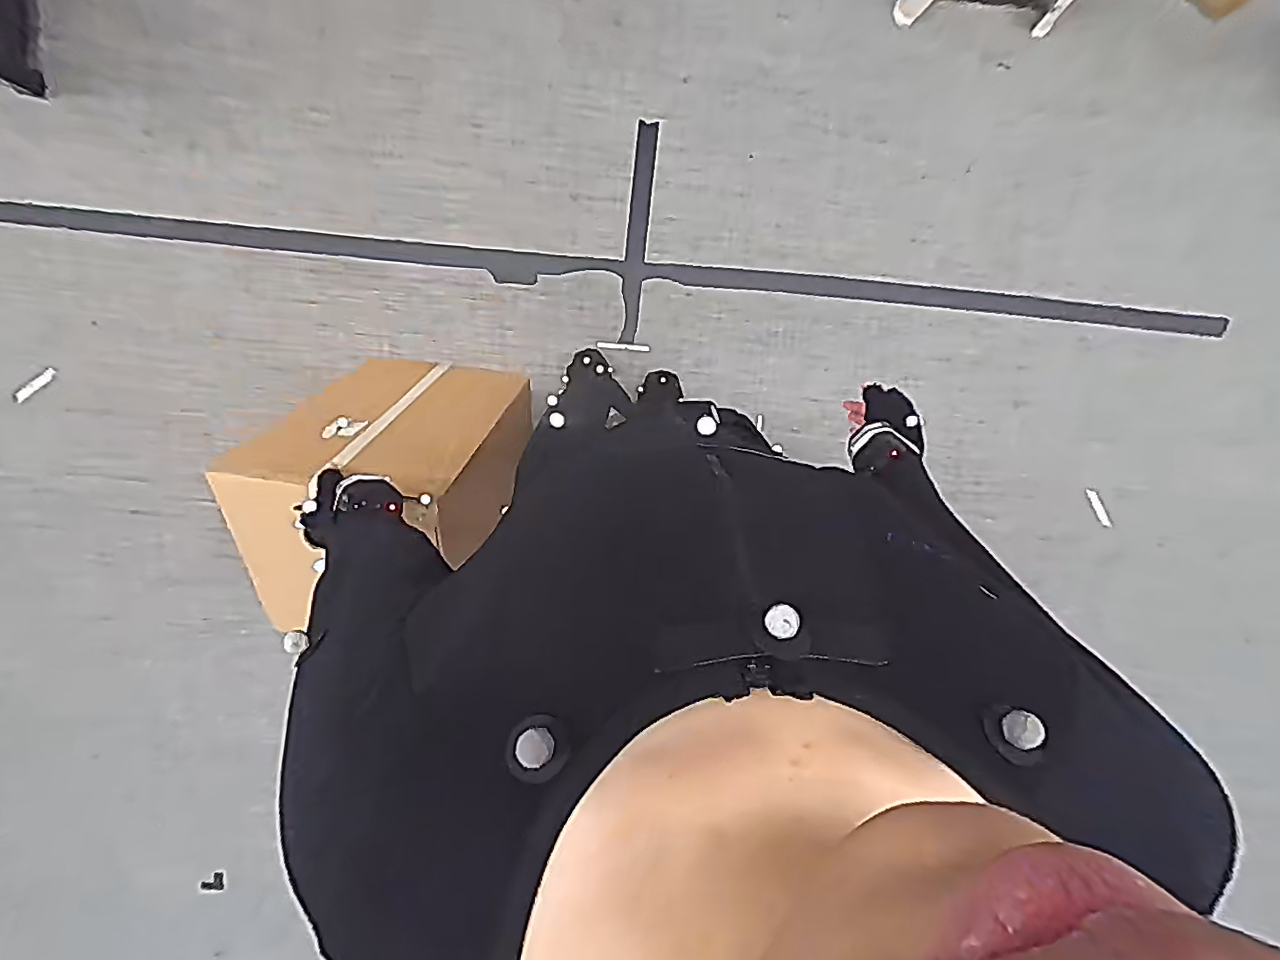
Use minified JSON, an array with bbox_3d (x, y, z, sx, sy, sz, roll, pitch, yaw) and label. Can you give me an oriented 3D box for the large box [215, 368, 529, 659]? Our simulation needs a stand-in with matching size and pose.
[{"bbox_3d":[-0.397,0.036,0.942,0.320,0.408,0.320,6,124,4],"label":"large box"}]
